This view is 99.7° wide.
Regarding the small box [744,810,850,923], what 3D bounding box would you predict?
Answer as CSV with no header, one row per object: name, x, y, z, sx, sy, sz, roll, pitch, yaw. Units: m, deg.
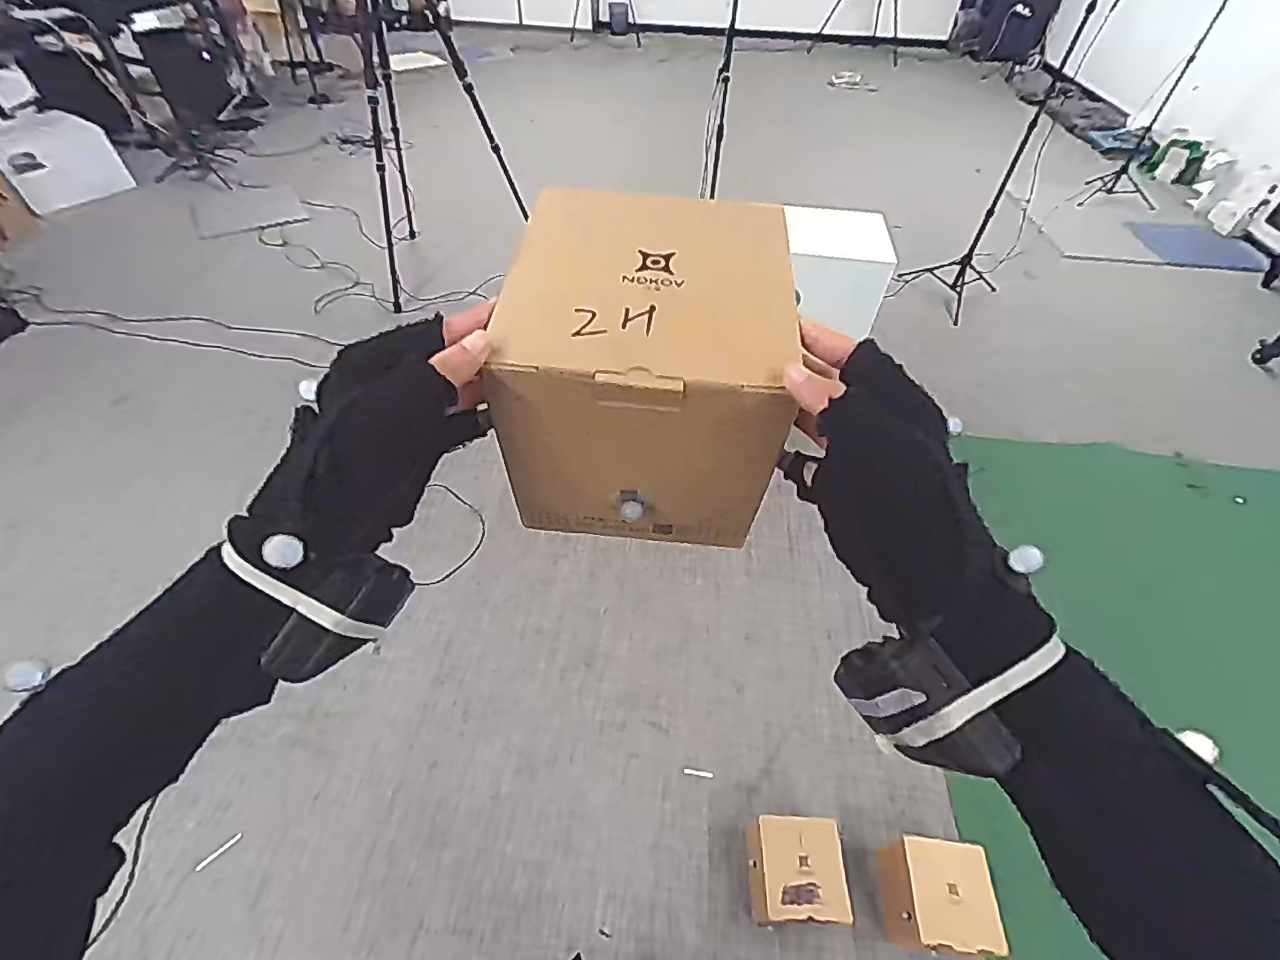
small box,0.321,0.820,1.144,0.168,0.176,0.179,3,48,0

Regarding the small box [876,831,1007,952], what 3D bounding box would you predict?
small box,0.611,0.858,1.127,0.168,0.176,0.179,5,49,3
